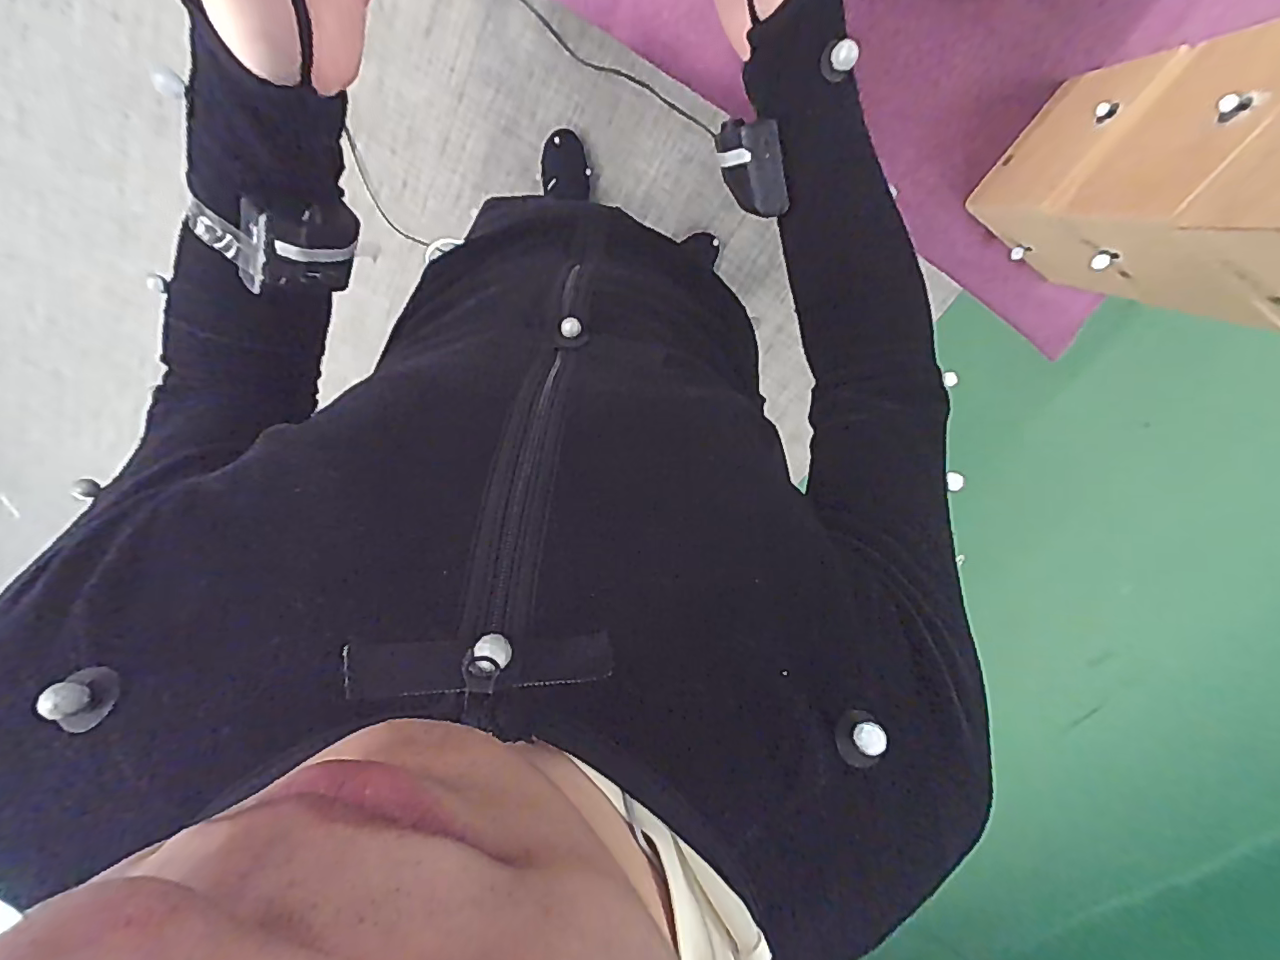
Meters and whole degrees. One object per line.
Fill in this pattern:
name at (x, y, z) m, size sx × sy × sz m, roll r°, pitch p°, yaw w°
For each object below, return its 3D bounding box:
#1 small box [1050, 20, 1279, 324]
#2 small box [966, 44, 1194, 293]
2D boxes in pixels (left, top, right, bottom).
small box at (0.535, -0.274, 0.484) m, size 0.168 × 0.176 × 0.179 m, roll 31°, pitch 115°, yaw -13°
small box at (0.536, -0.350, 0.629) m, size 0.179 × 0.176 × 0.168 m, roll 30°, pitch 115°, yaw -14°
